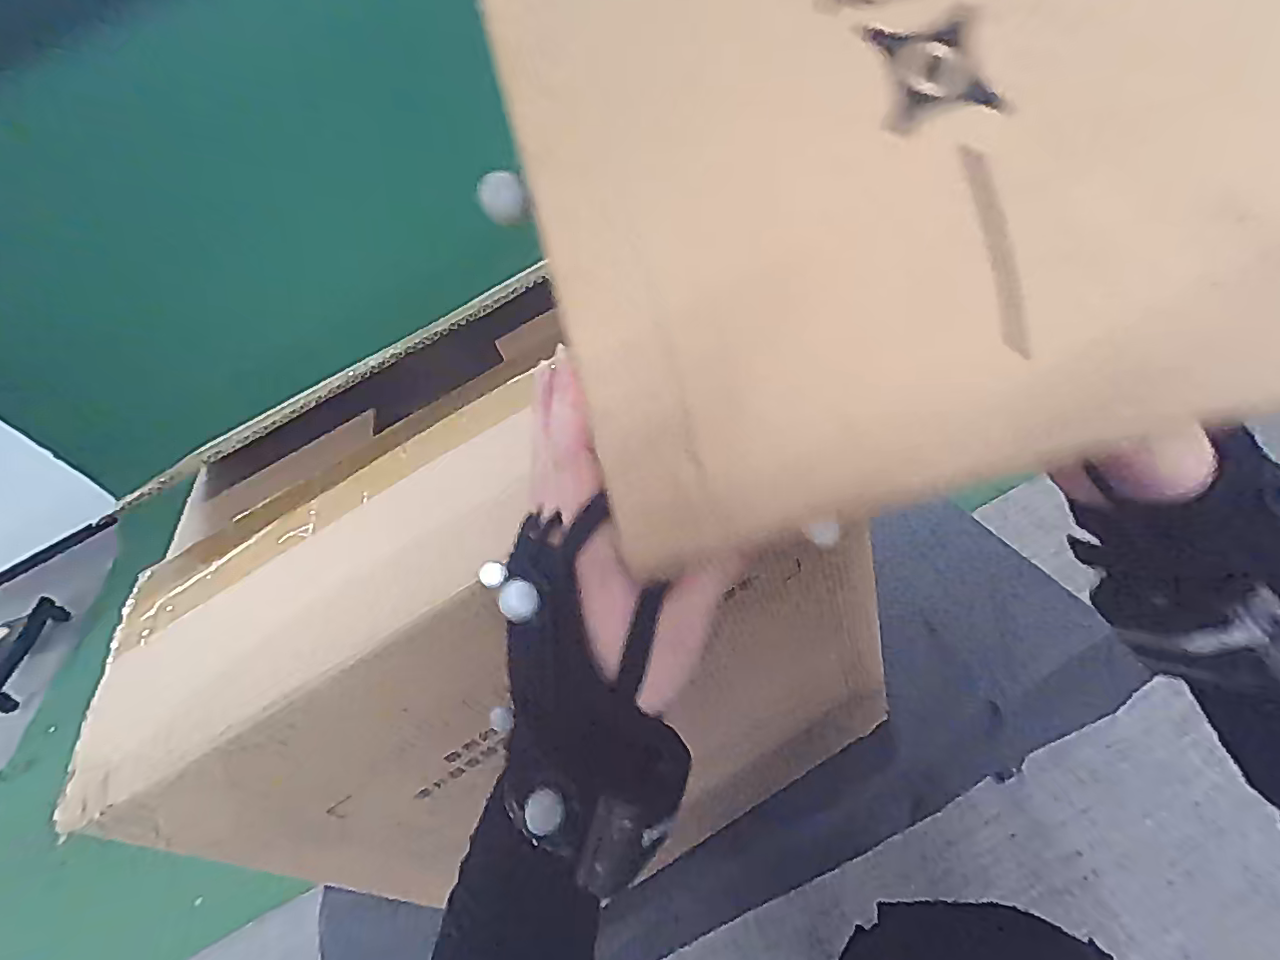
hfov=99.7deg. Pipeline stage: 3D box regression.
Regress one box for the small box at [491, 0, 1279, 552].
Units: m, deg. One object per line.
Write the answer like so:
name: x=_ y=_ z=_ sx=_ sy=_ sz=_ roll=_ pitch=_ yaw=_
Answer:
small box: x=0.053 y=-0.078 z=0.195 sx=0.168 sy=0.176 sz=0.179 roll=-14 pitch=85 yaw=-2
